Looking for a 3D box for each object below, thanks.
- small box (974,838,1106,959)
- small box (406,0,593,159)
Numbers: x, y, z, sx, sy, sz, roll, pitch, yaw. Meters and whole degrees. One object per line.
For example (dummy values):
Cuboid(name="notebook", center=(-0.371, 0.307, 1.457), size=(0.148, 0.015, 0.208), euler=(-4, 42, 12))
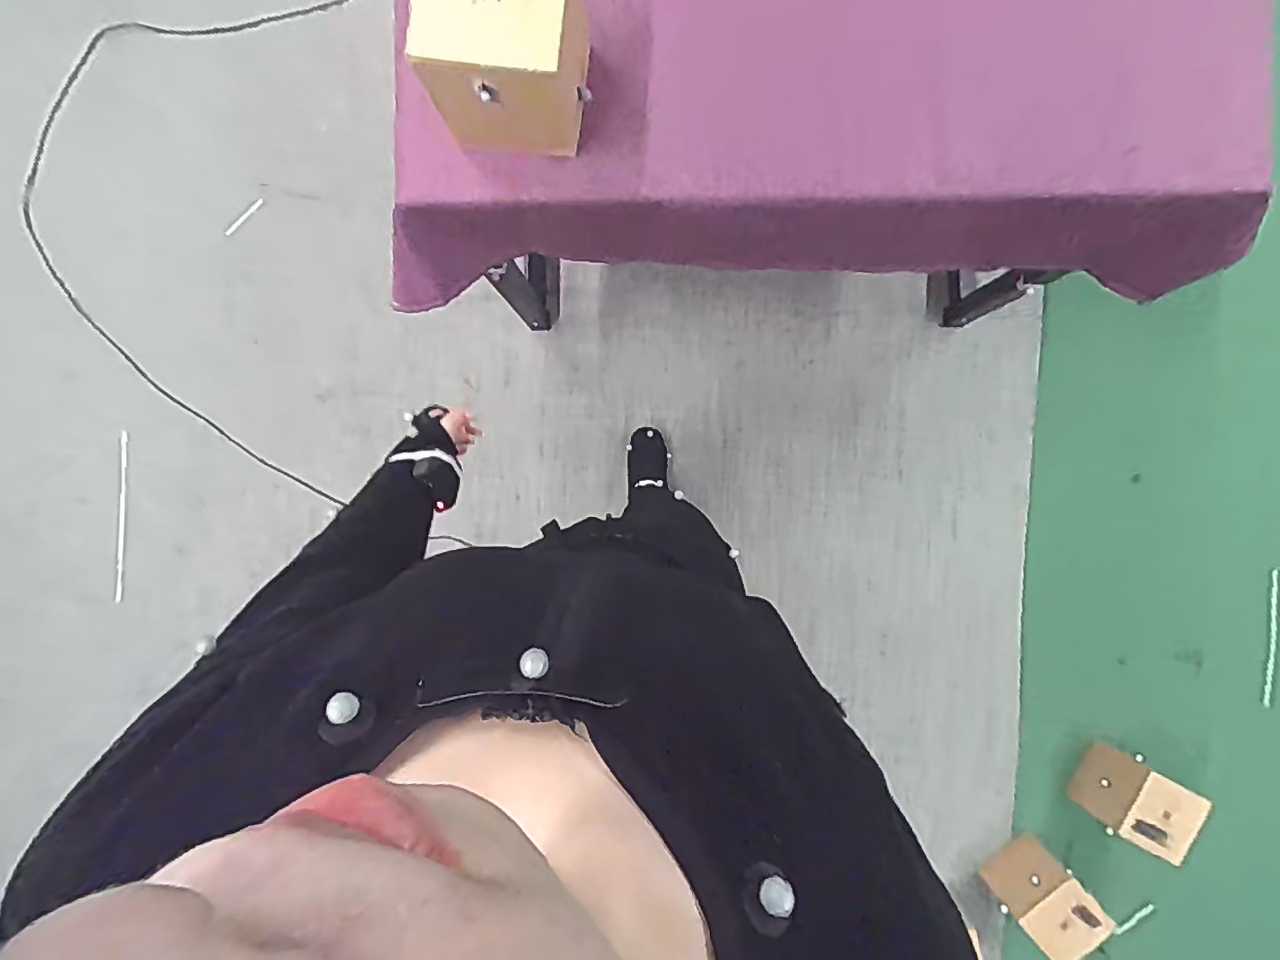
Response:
Cuboid(name="small box", center=(1.012, 1.077, 1.386), size=(0.179, 0.176, 0.168), euler=(-41, 90, 2))
Cuboid(name="small box", center=(-0.165, -0.540, 0.685), size=(0.179, 0.176, 0.168), euler=(8, 91, 1))
